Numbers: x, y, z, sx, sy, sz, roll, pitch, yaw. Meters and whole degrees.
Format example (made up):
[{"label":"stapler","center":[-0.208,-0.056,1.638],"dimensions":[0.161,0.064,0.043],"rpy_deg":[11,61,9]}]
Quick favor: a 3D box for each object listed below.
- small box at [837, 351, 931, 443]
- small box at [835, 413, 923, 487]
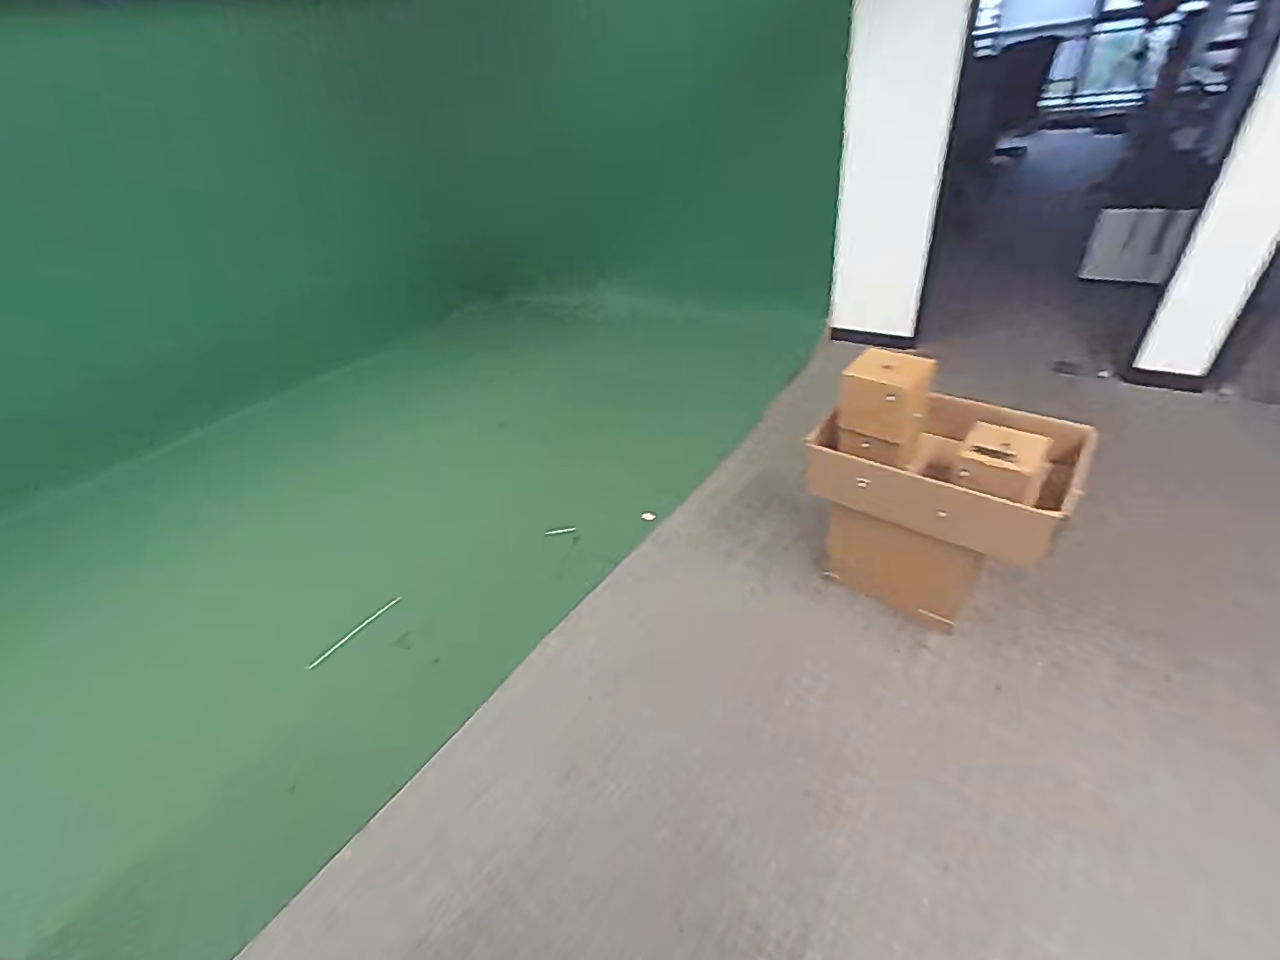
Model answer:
[{"label":"small box","center":[0.646,-0.222,1.448],"dimensions":[0.179,0.176,0.168],"rpy_deg":[25,50,36]},{"label":"small box","center":[0.681,-0.104,1.556],"dimensions":[0.179,0.176,0.168],"rpy_deg":[24,50,35]}]
